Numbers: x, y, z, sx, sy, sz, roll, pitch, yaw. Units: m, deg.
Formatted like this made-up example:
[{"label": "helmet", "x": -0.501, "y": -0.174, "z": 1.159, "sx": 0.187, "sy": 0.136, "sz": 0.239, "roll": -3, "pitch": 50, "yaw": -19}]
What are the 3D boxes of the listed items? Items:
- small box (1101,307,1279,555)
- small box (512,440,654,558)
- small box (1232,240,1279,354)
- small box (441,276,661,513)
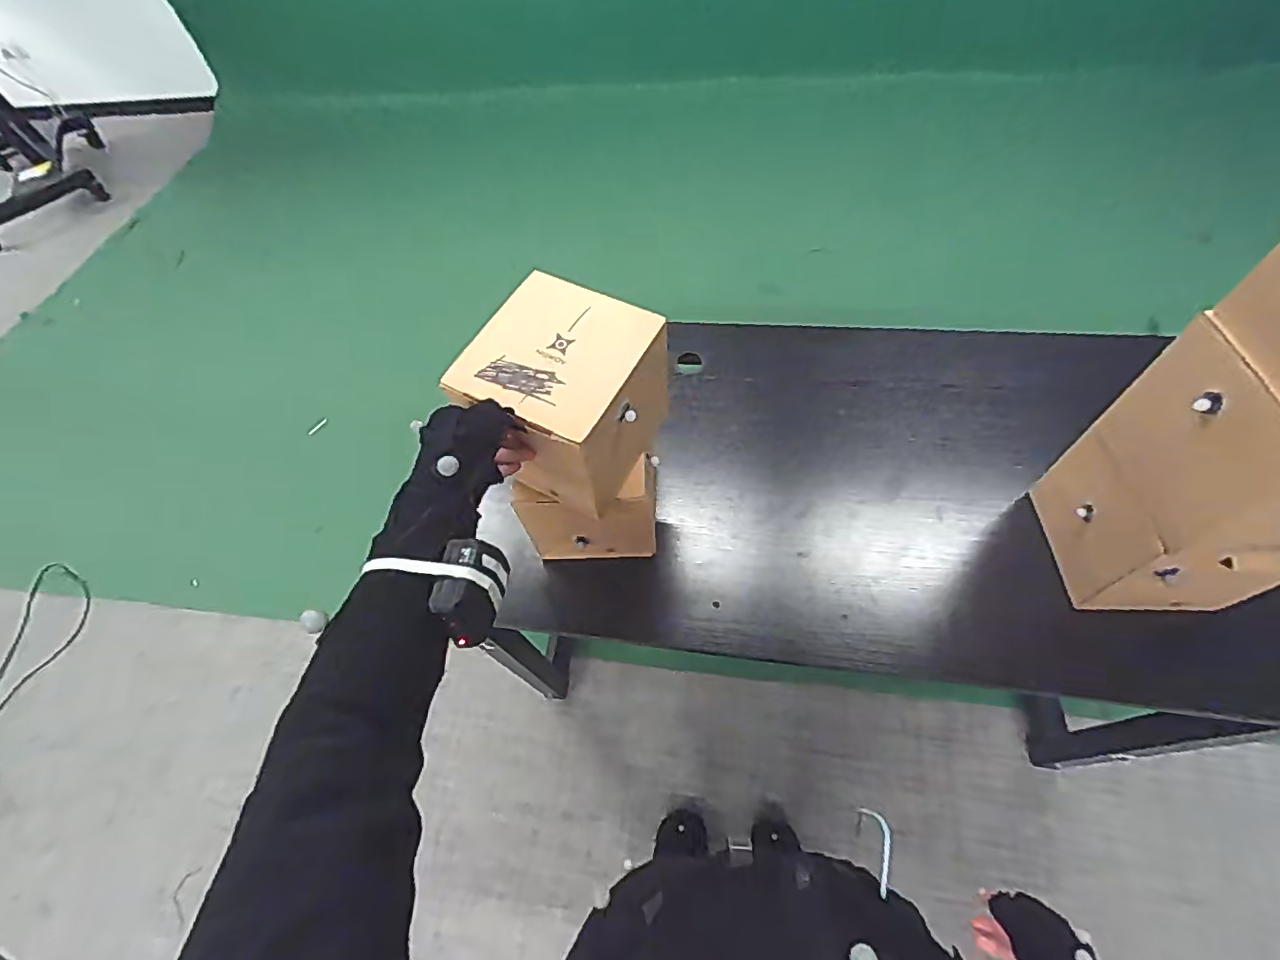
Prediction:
[{"label": "small box", "x": 0.598, "y": -0.044, "z": 0.510, "sx": 0.168, "sy": 0.176, "sz": 0.179, "roll": -3, "pitch": 58, "yaw": 6}, {"label": "small box", "x": -0.069, "y": -0.004, "z": 0.760, "sx": 0.168, "sy": 0.176, "sz": 0.179, "roll": -3, "pitch": 59, "yaw": 4}, {"label": "small box", "x": 0.586, "y": -0.138, "z": 0.358, "sx": 0.168, "sy": 0.176, "sz": 0.179, "roll": -3, "pitch": 57, "yaw": 5}, {"label": "small box", "x": -0.082, "y": -0.088, "z": 0.612, "sx": 0.168, "sy": 0.176, "sz": 0.179, "roll": 24, "pitch": 65, "yaw": 14}]
